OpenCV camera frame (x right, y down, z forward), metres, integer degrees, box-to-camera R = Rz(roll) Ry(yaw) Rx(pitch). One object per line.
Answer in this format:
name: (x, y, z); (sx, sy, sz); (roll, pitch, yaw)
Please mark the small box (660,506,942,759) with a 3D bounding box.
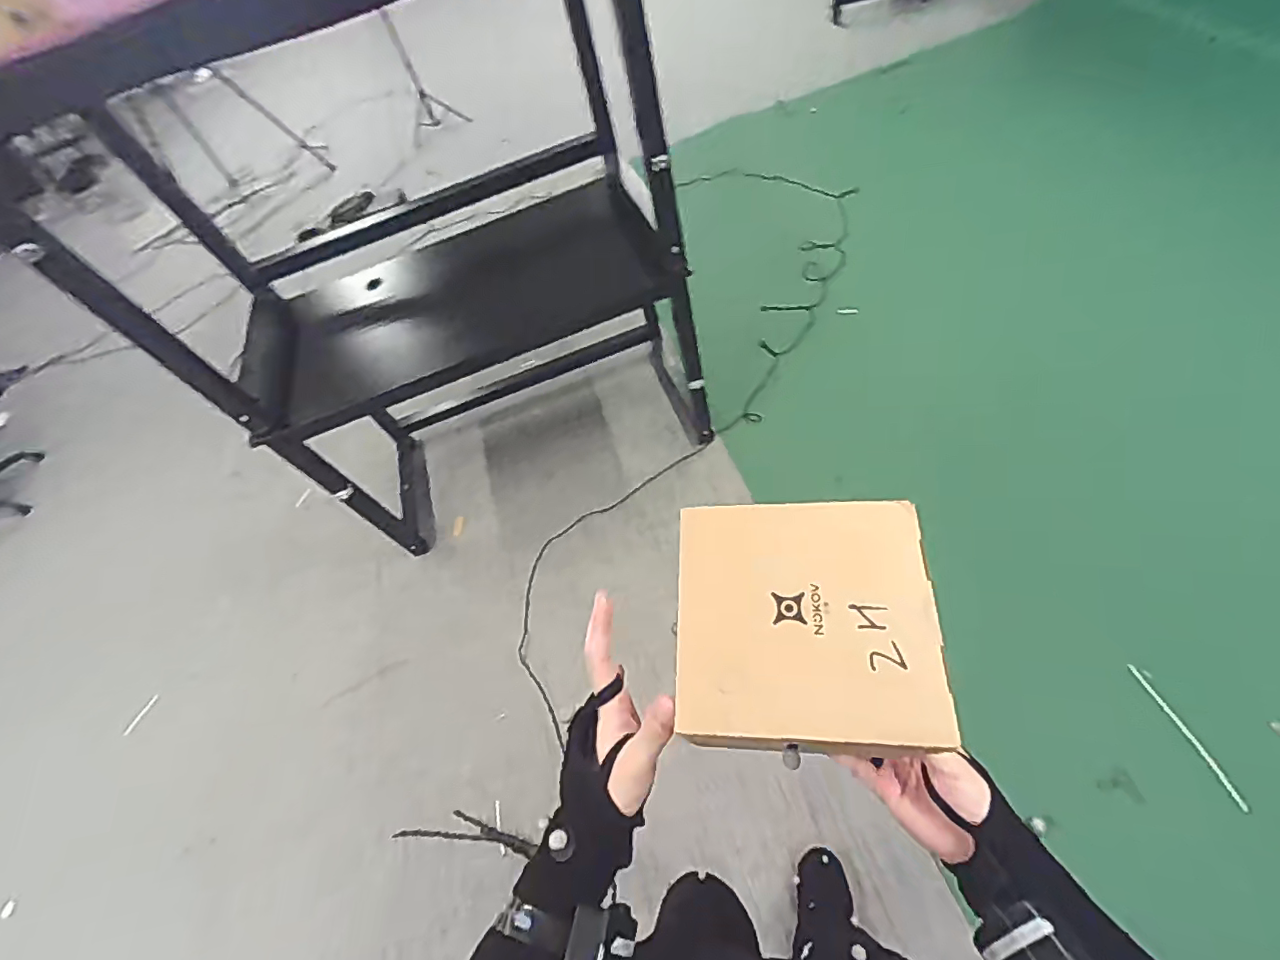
small box: (0.120, 0.132, 0.447); (0.179, 0.176, 0.168); (-3, 62, 12)
